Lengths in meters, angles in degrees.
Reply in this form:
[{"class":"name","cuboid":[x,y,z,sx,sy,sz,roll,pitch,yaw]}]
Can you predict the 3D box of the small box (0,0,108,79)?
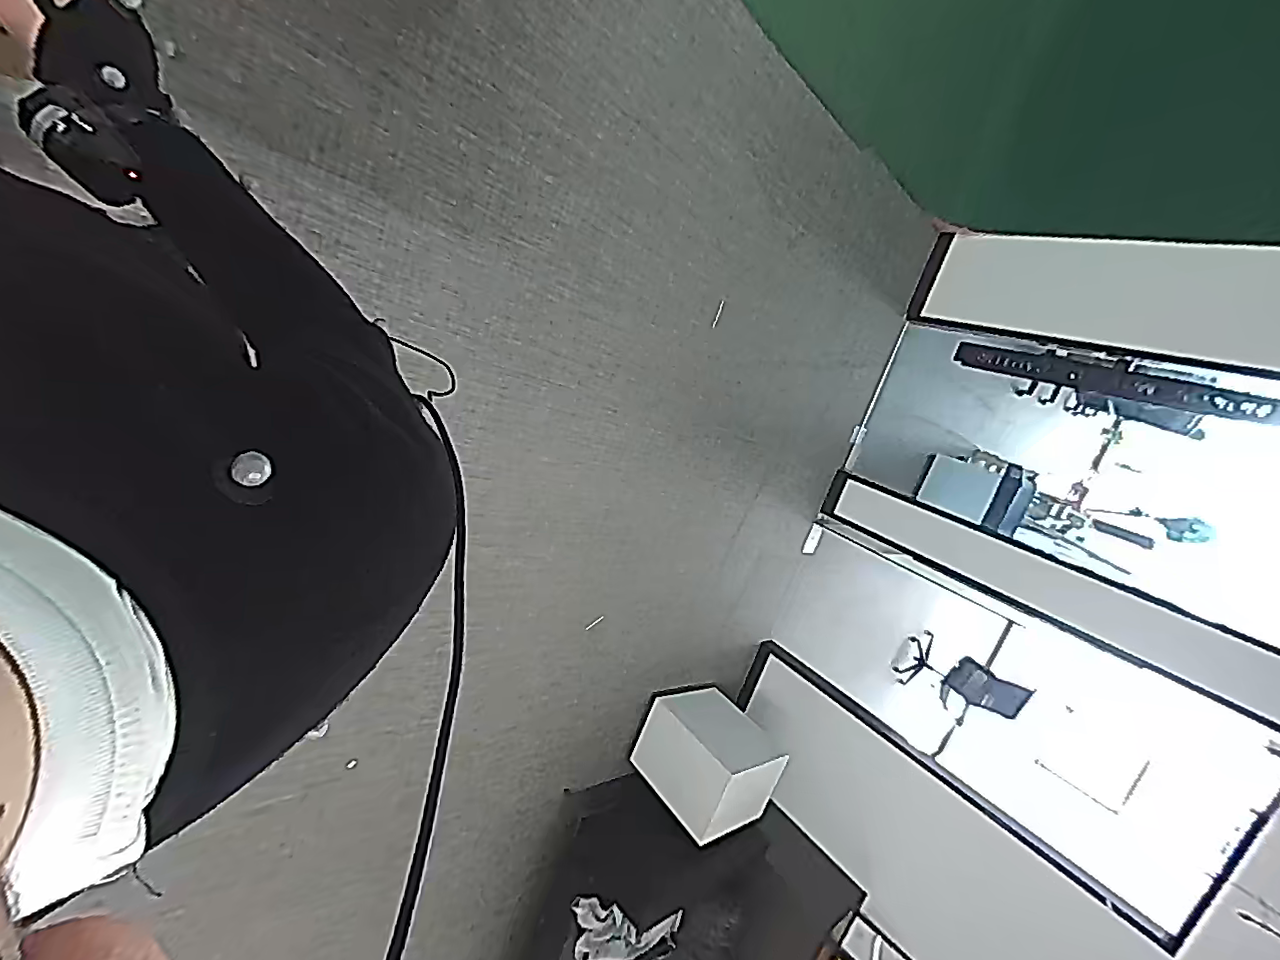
[{"class":"small box","cuboid":[-0.542,-0.440,0.402,0.179,0.176,0.168,-10,101,-30]}]
